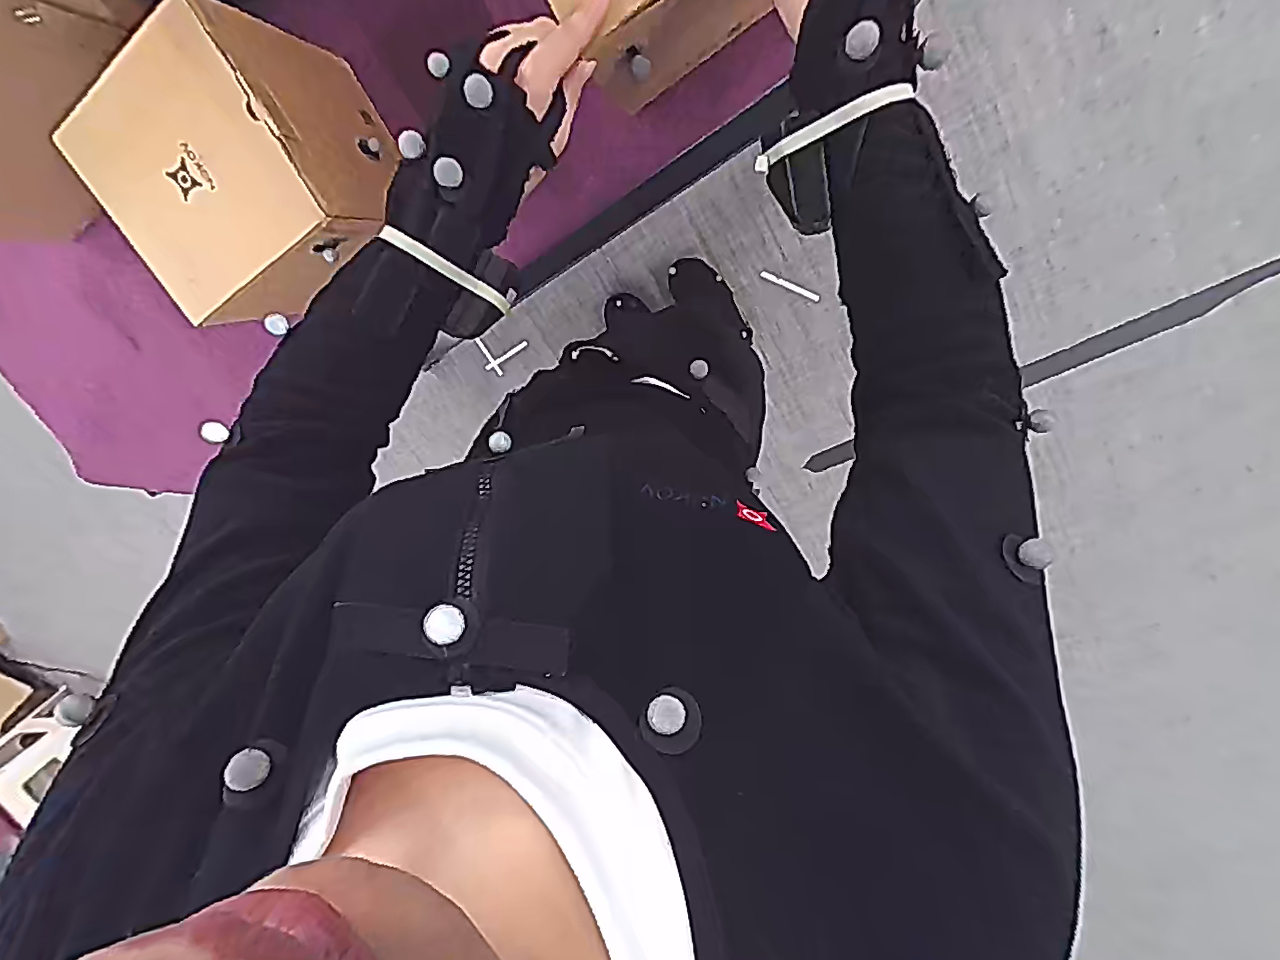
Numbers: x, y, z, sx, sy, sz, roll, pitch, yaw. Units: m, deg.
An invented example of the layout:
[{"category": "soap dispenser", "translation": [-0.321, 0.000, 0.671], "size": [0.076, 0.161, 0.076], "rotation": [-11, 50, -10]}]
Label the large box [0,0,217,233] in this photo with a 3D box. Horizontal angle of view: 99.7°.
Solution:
[{"category": "large box", "translation": [-0.661, -0.447, 0.392], "size": [0.320, 0.320, 0.408], "rotation": [-28, 108, 21]}]
